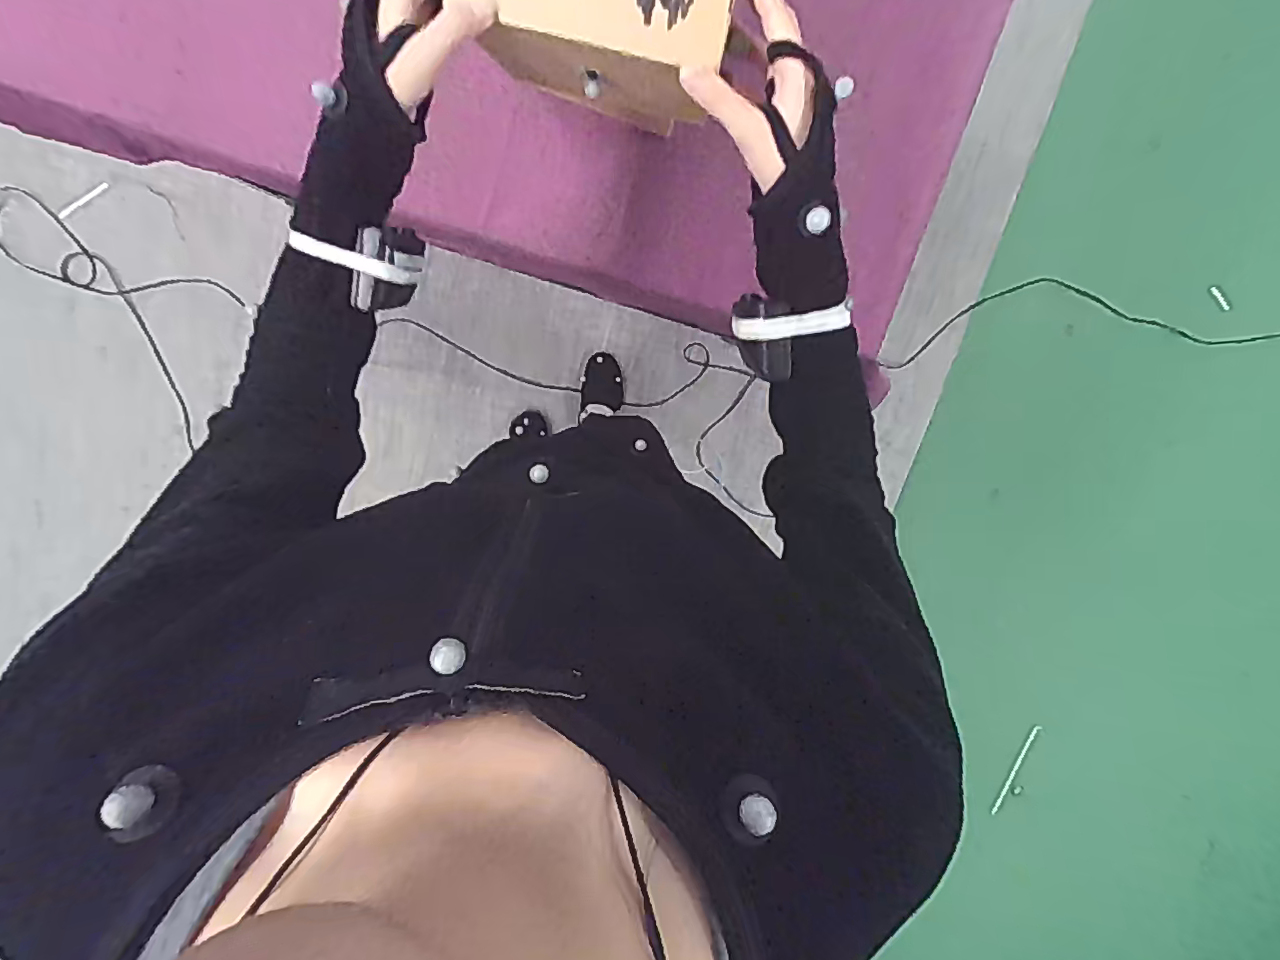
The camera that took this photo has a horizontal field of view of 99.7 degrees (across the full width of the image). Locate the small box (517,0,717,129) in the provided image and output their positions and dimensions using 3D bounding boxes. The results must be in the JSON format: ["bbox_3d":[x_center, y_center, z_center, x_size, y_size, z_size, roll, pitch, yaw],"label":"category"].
[{"bbox_3d":[-0.012,-0.504,0.566,0.179,0.176,0.168,17,102,-8],"label":"small box"}]
